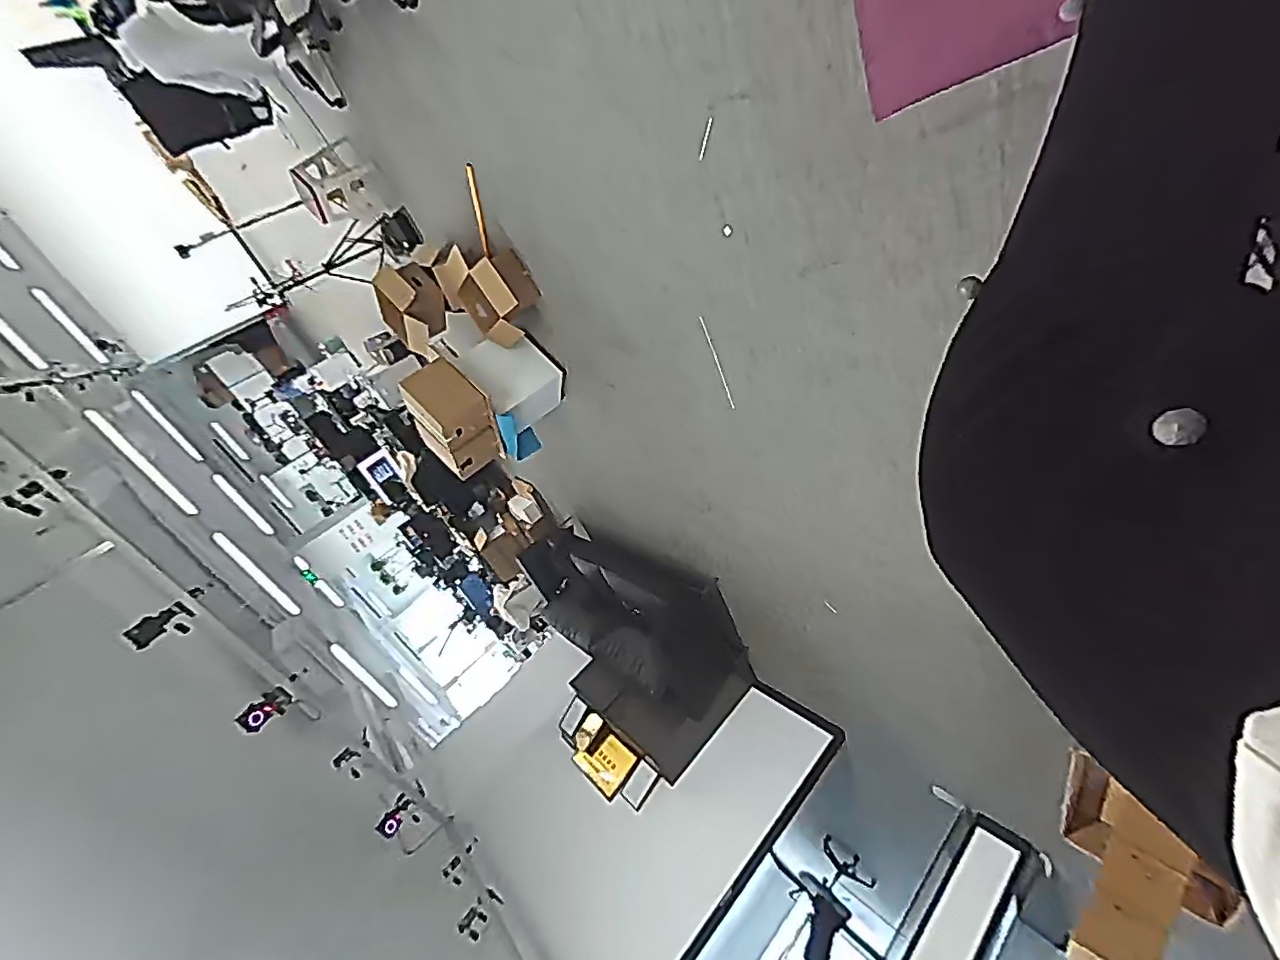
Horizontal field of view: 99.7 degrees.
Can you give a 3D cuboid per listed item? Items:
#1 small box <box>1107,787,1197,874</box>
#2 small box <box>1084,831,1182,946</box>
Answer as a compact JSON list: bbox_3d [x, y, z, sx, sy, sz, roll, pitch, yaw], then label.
[{"bbox_3d":[1.531,1.076,1.625,0.168,0.176,0.179,19,140,47],"label":"small box"},{"bbox_3d":[1.417,1.167,1.555,0.168,0.176,0.179,20,140,49],"label":"small box"}]
